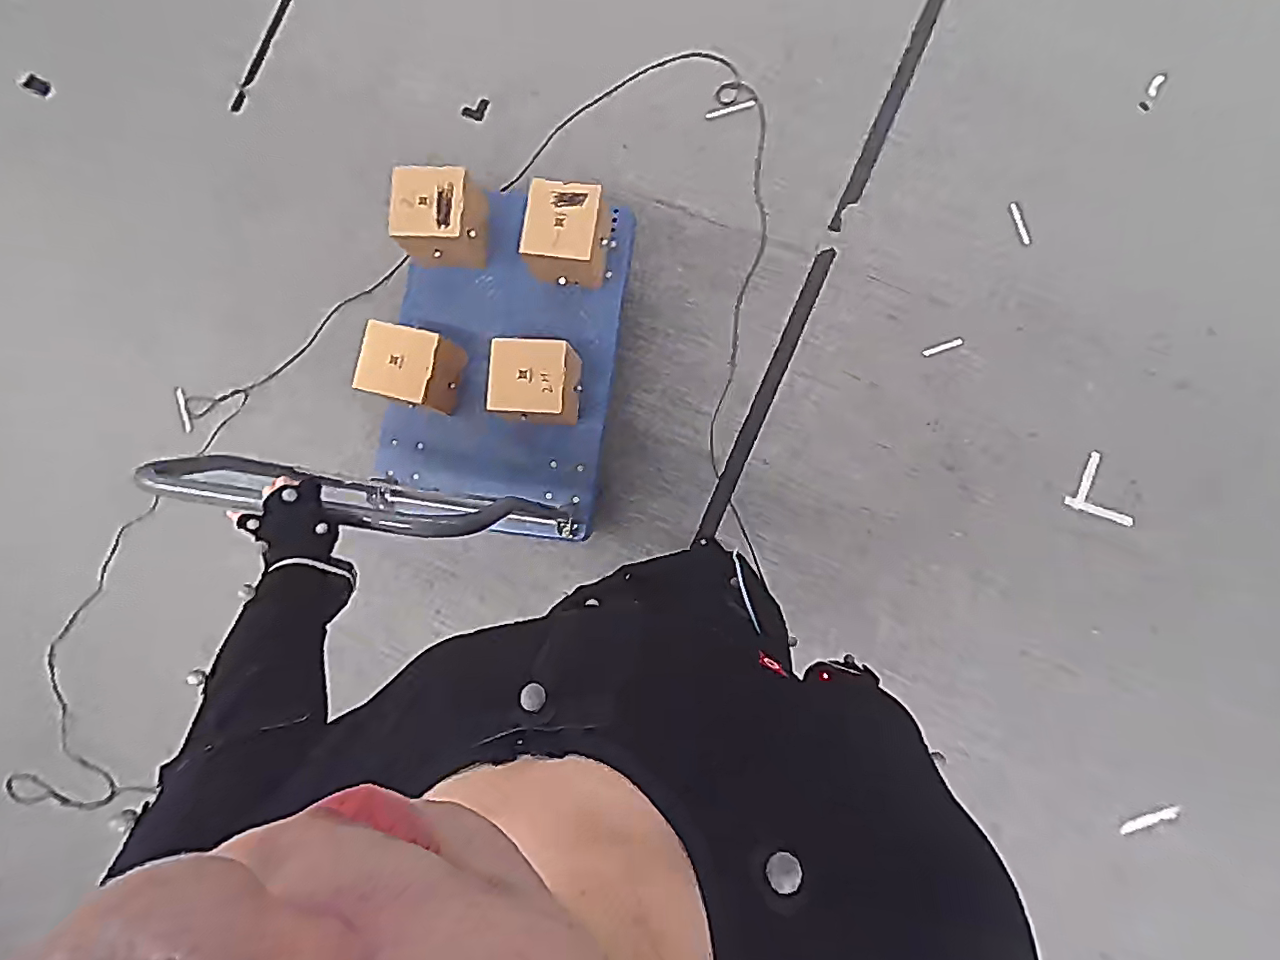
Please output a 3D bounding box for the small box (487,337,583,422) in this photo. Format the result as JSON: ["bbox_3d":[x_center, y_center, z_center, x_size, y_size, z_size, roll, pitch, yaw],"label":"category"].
[{"bbox_3d":[-0.244,-0.232,1.284,0.179,0.176,0.168,4,88,5],"label":"small box"}]

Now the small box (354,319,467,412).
[{"bbox_3d":[-0.549,-0.270,1.312,0.179,0.176,0.168,13,88,4],"label":"small box"}]

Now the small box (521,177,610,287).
[{"bbox_3d":[-0.170,-0.586,1.292,0.168,0.176,0.179,9,90,5],"label":"small box"}]
